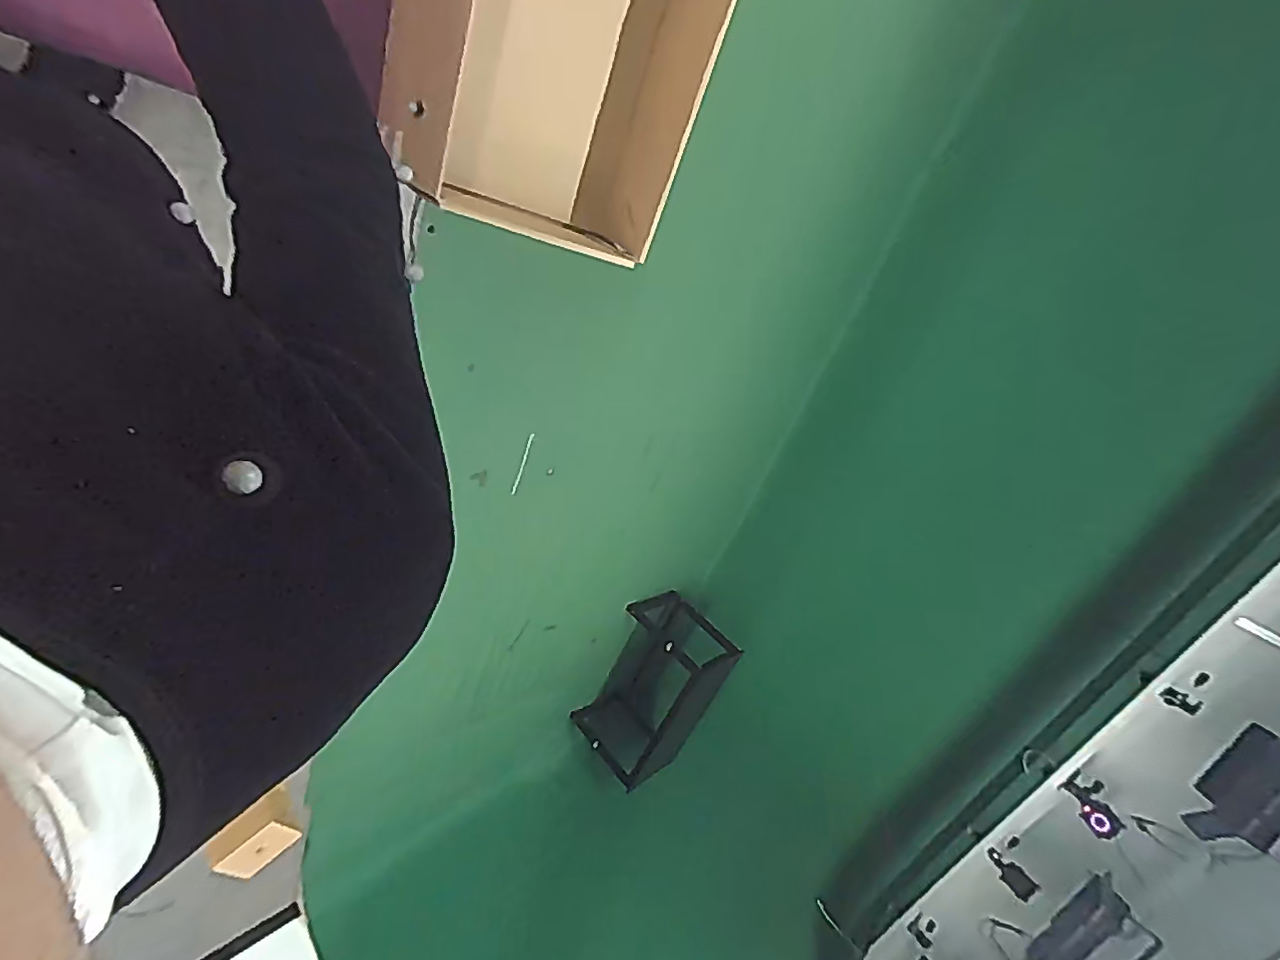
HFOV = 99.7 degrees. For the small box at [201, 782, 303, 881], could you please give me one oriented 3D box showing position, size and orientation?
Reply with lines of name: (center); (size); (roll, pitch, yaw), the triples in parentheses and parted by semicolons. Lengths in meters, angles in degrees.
small box: (-1.151, 1.038, 1.606); (0.168, 0.176, 0.179); (-36, 144, -27)
